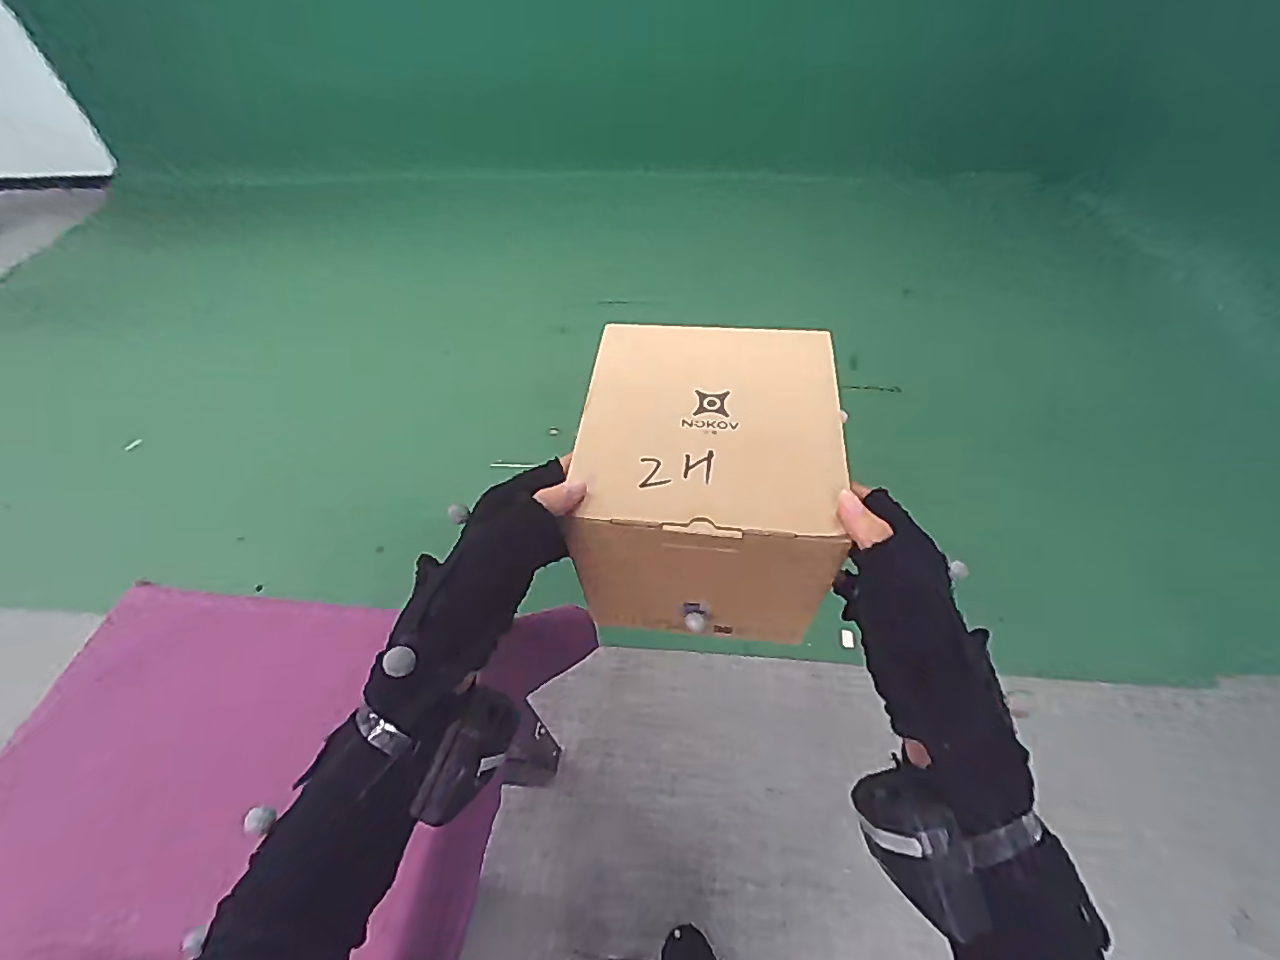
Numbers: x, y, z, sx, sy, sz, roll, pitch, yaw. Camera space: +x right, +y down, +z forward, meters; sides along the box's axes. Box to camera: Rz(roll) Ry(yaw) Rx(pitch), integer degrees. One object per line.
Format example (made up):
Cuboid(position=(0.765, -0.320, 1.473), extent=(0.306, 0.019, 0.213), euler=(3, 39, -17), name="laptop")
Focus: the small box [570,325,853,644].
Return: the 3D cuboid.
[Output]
Cuboid(position=(0.054, 0.006, 0.420), extent=(0.168, 0.176, 0.179), euler=(5, 54, 8), name="small box")
